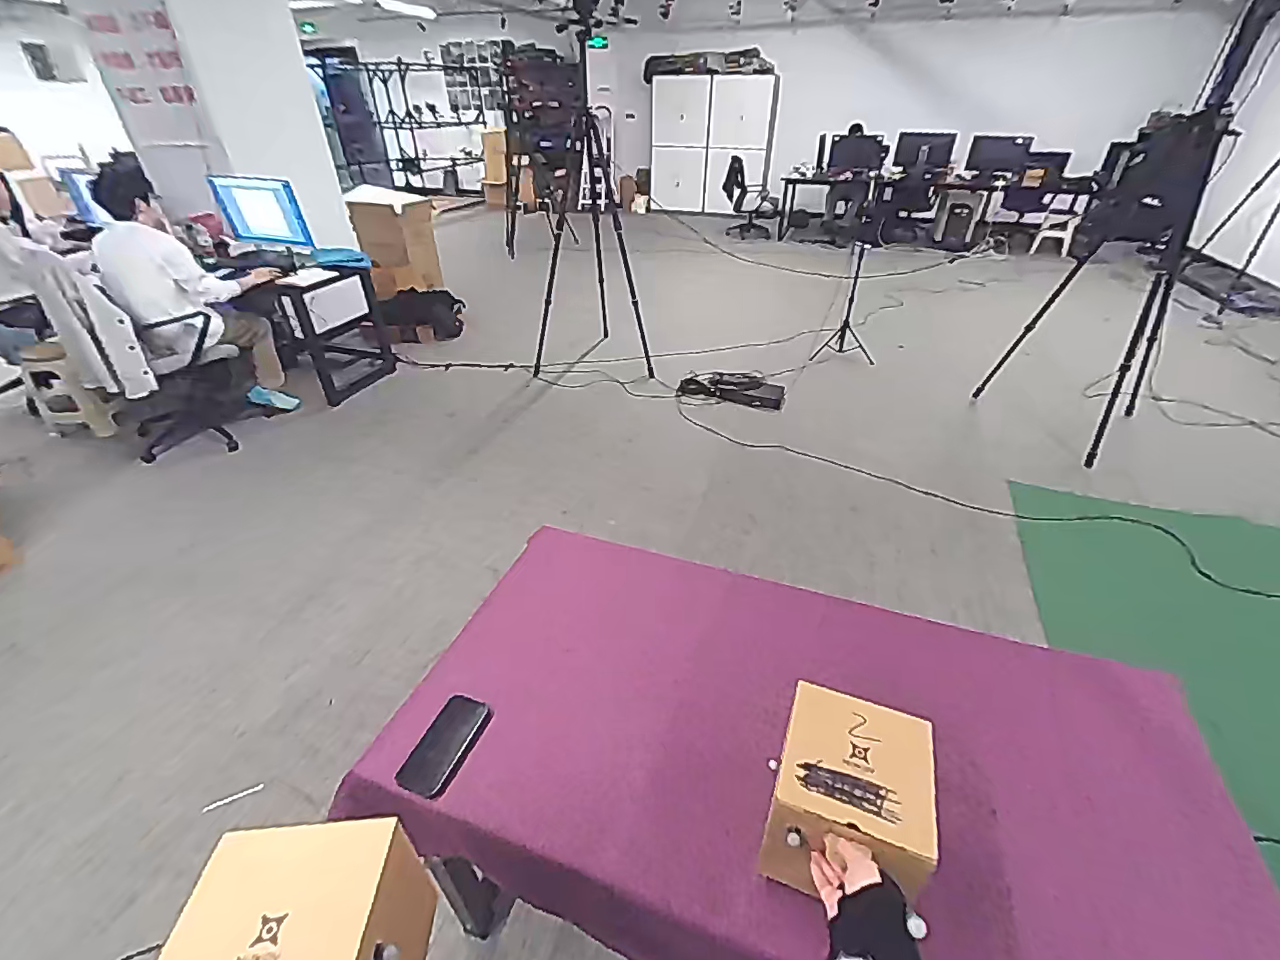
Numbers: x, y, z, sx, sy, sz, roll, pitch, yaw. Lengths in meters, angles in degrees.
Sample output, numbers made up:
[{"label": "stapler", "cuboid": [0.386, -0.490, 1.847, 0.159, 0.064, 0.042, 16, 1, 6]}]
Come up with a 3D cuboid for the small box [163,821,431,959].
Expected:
[{"label": "small box", "cuboid": [-0.307, 0.451, 0.496, 0.168, 0.176, 0.179, -4, 34, -2]}]
